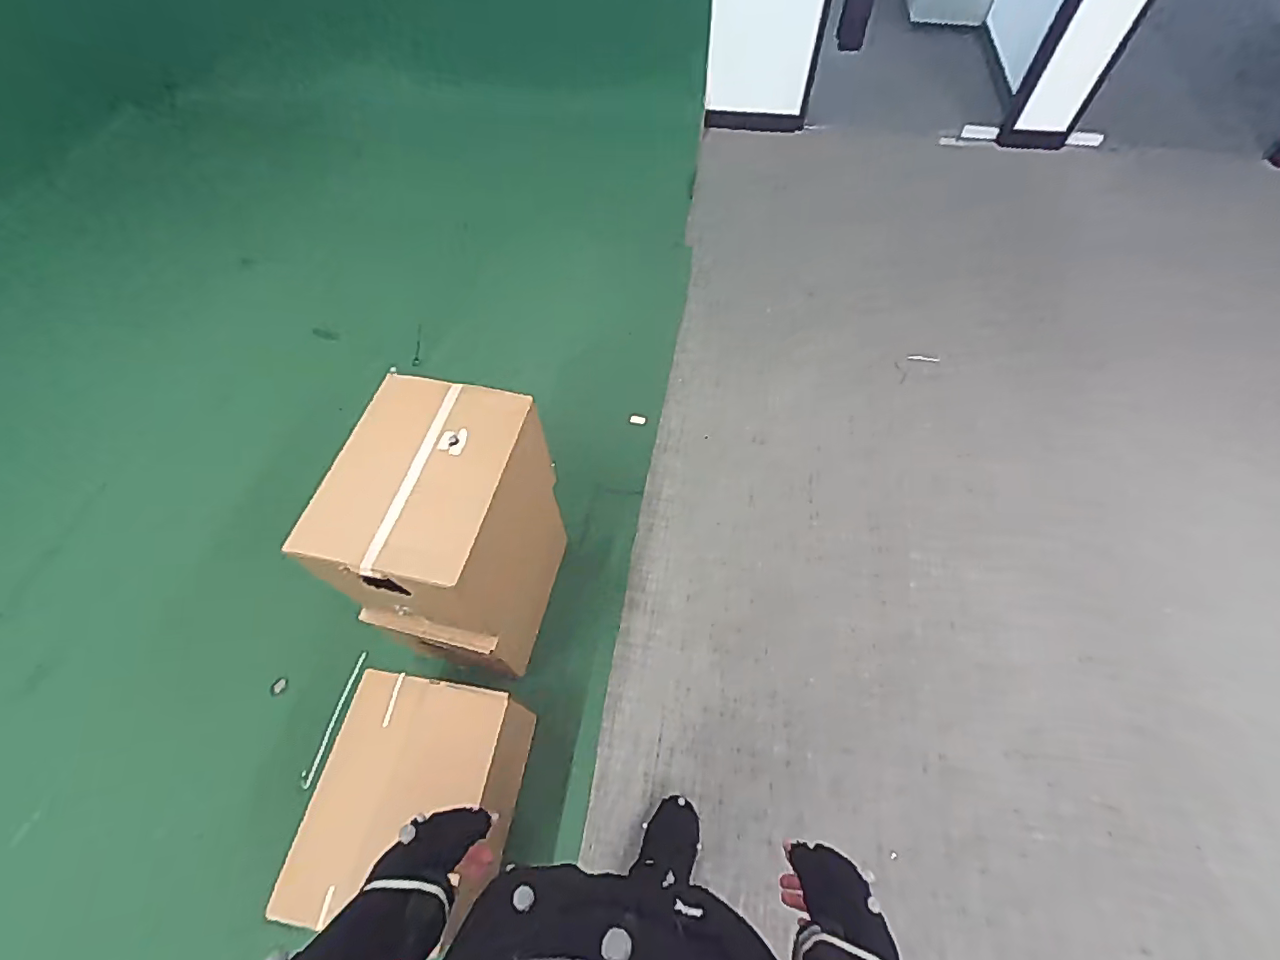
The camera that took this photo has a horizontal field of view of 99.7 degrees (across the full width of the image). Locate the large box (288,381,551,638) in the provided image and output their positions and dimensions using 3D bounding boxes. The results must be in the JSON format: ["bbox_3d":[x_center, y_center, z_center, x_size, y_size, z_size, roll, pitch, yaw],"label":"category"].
[{"bbox_3d":[-0.403,0.065,1.111,0.320,0.320,0.408,11,58,6],"label":"large box"}]
